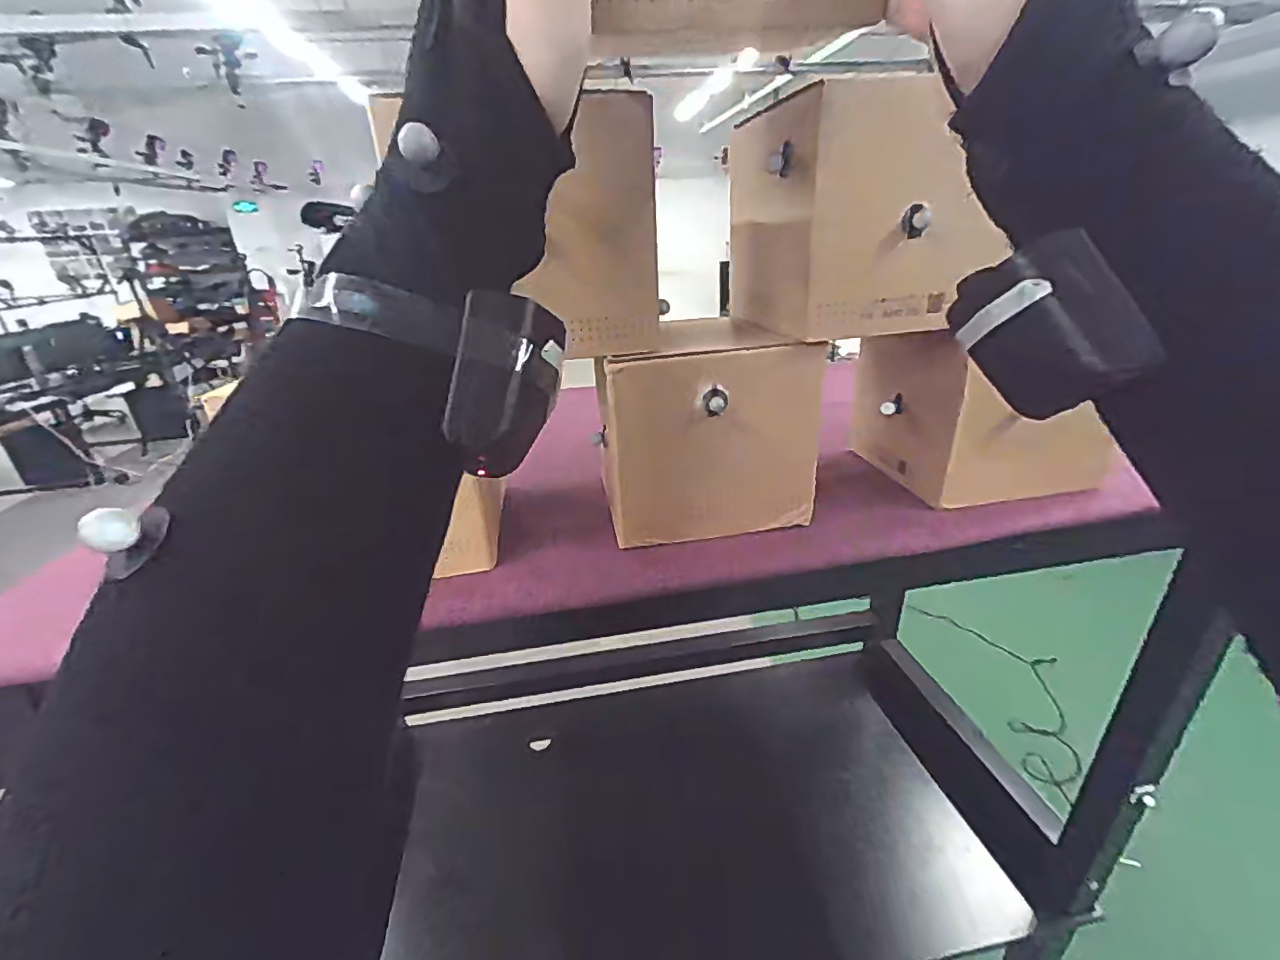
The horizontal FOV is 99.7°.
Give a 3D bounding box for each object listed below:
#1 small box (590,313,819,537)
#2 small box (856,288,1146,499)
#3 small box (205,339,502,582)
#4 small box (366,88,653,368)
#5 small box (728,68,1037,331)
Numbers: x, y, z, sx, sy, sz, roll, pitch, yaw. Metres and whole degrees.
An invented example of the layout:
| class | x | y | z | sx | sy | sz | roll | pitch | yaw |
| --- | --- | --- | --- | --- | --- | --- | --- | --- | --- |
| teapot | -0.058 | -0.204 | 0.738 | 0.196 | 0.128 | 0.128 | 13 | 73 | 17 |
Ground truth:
| class | x | y | z | sx | sy | sz | roll | pitch | yaw |
| --- | --- | --- | --- | --- | --- | --- | --- | --- | --- |
| small box | 0.051 | -0.058 | 0.514 | 0.179 | 0.176 | 0.168 | -6 | 24 | -7 |
| small box | 0.338 | -0.092 | 0.548 | 0.179 | 0.176 | 0.168 | -8 | 26 | -7 |
| small box | -0.219 | -0.024 | 0.476 | 0.168 | 0.176 | 0.179 | -7 | 24 | -8 |
| small box | -0.089 | -0.195 | 0.437 | 0.179 | 0.176 | 0.168 | -8 | 24 | -9 |
| small box | 0.182 | -0.224 | 0.462 | 0.168 | 0.176 | 0.179 | -8 | 25 | -8 |
